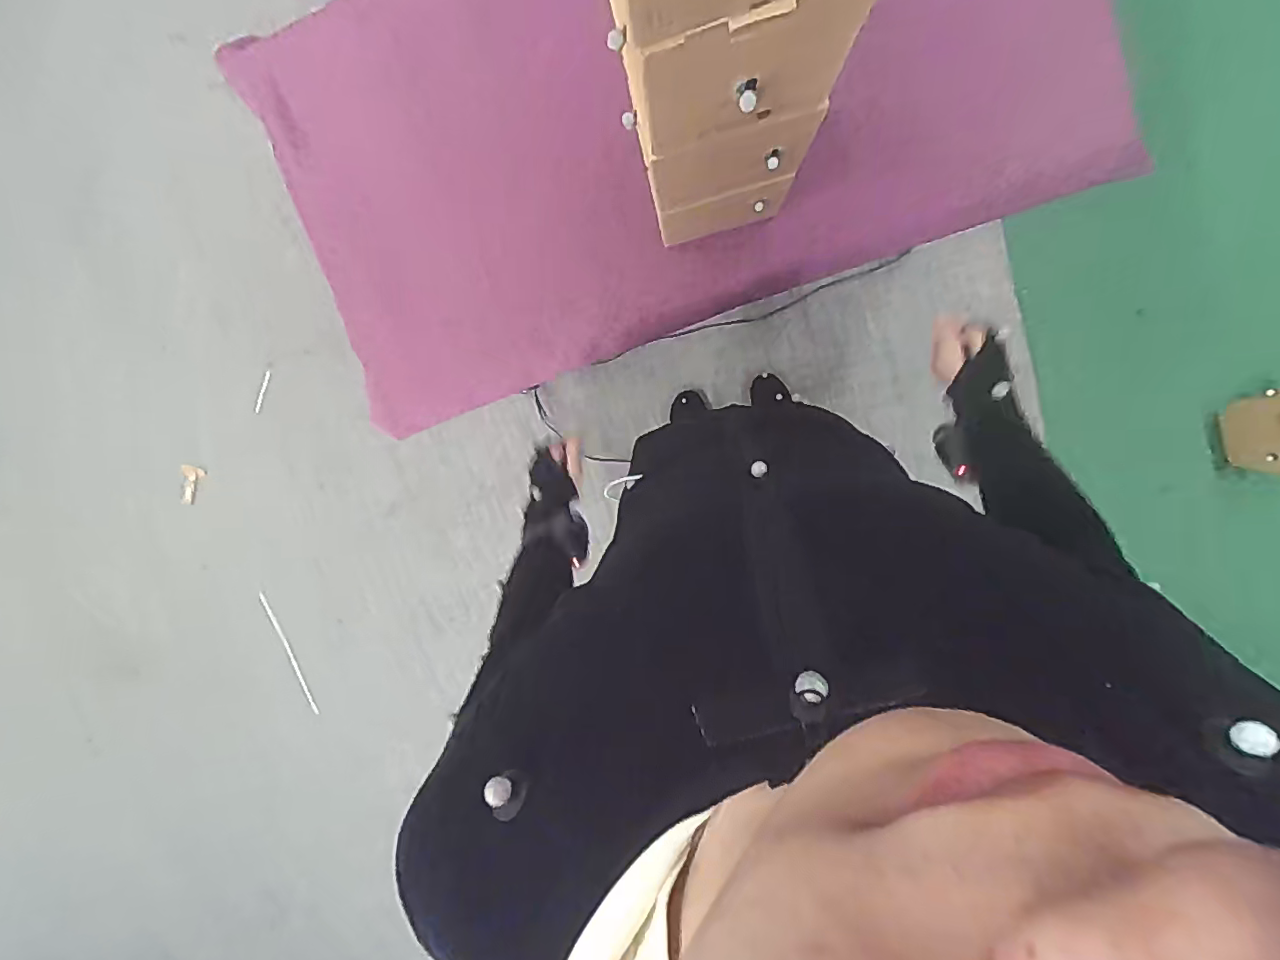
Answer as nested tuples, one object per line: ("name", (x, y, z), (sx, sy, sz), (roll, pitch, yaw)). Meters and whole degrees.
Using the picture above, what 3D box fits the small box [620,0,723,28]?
("small box", (0.045, -0.373, 0.256), (0.179, 0.176, 0.168), (-15, 97, 7))

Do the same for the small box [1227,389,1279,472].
("small box", (1.666, -0.127, 1.369), (0.168, 0.176, 0.179), (-21, 98, 9))

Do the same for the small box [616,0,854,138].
("small box", (0.061, -0.399, 0.418), (0.168, 0.176, 0.179), (-13, 98, 7))

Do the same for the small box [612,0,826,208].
("small box", (0.079, -0.420, 0.578), (0.179, 0.176, 0.168), (-13, 98, 8))
